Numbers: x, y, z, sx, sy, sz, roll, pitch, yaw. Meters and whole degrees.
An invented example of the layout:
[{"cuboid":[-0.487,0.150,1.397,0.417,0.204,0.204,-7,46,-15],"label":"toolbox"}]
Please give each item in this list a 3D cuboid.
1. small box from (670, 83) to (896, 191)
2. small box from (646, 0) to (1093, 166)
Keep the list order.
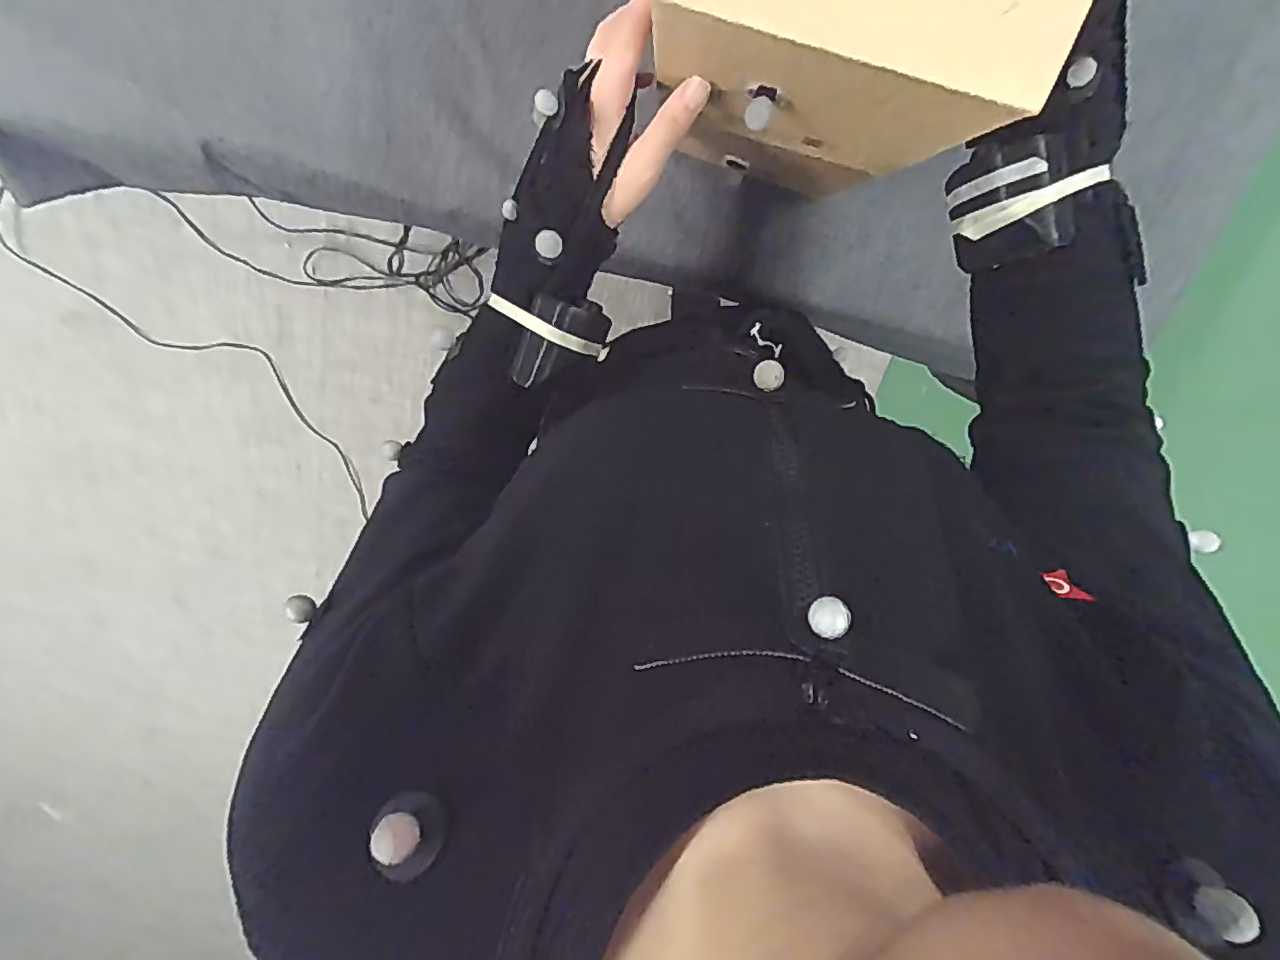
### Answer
[{"cuboid":[0.122,-0.339,0.402,0.168,0.176,0.179,15,112,-3],"label":"small box"},{"cuboid":[0.108,-0.272,0.253,0.168,0.176,0.179,15,111,-2],"label":"small box"}]
